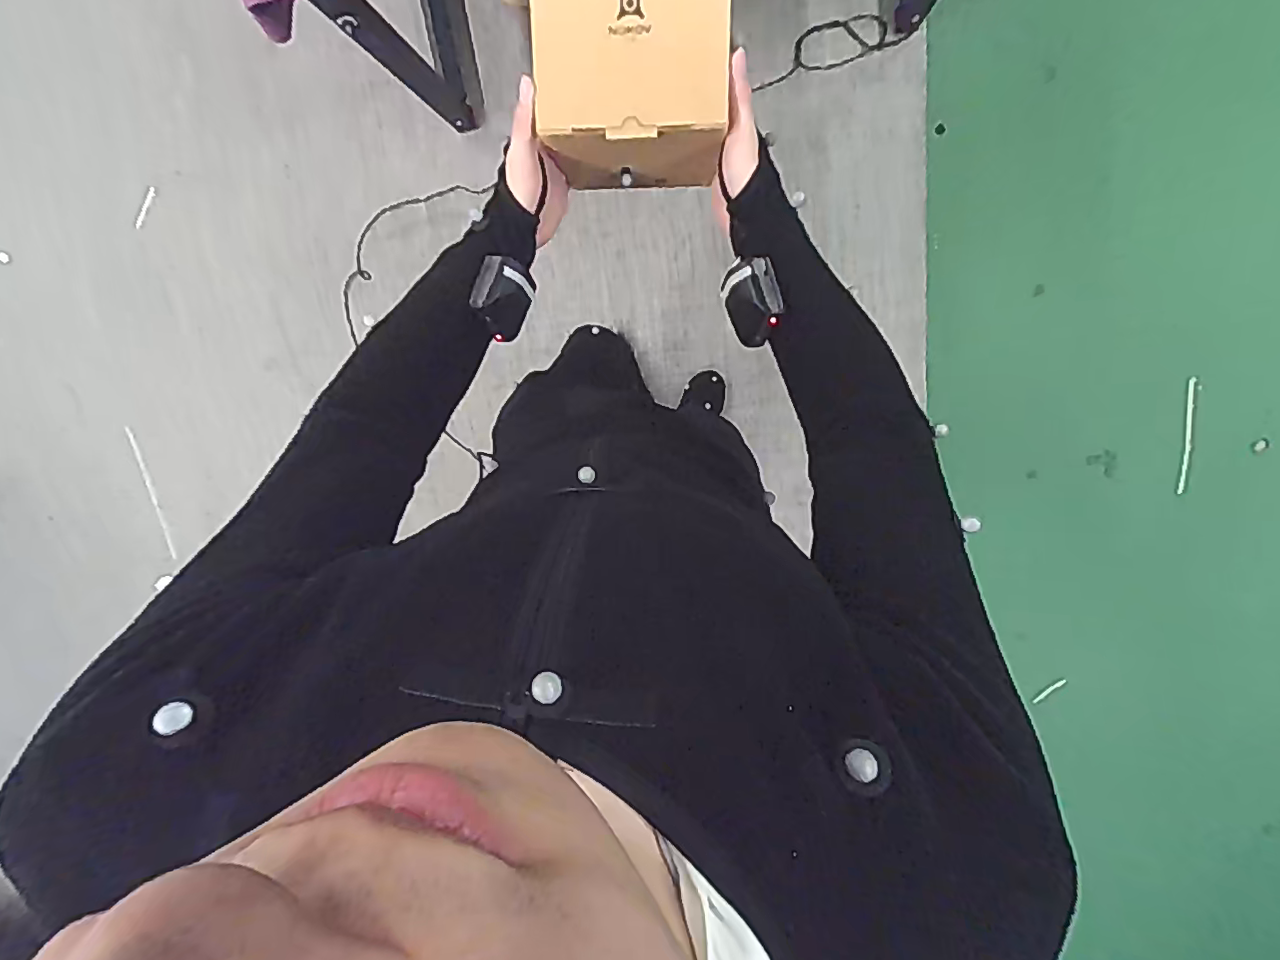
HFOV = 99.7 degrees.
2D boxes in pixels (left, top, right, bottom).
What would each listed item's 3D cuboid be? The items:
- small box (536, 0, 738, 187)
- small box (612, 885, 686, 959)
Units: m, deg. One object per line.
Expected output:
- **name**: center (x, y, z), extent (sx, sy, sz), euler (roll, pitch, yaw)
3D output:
- **small box**: center (-0.001, -0.400, 0.515), extent (0.168, 0.176, 0.179), euler (-1, 105, 3)
- **small box**: center (0.029, 1.204, 1.421), extent (0.168, 0.176, 0.179), euler (-8, 104, 8)
